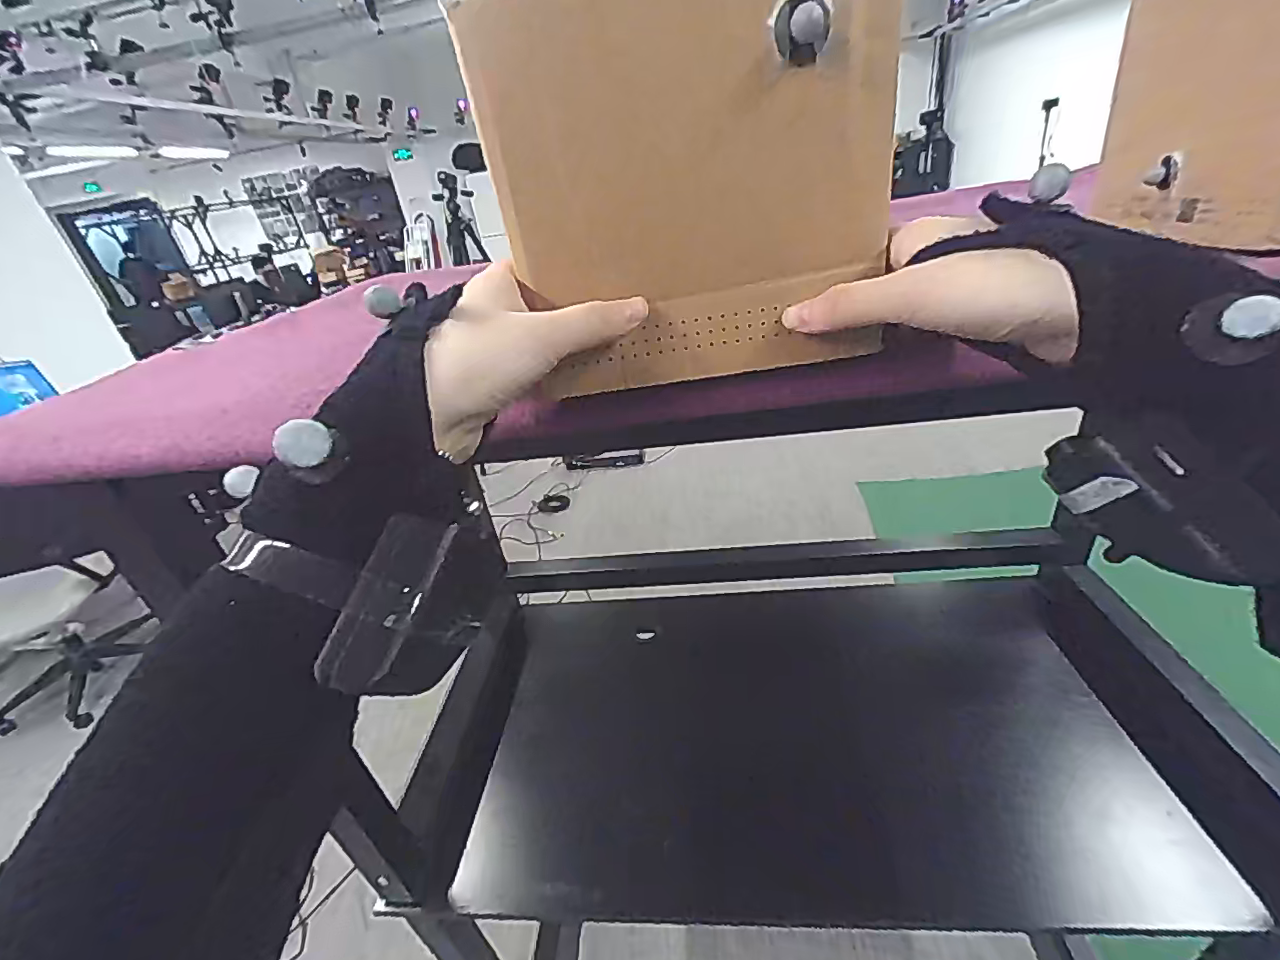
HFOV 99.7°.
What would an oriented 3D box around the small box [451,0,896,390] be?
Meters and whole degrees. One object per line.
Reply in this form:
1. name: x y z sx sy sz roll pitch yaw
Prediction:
1. small box: 0.025 -0.159 0.303 0.179 0.176 0.168 -7 30 3
